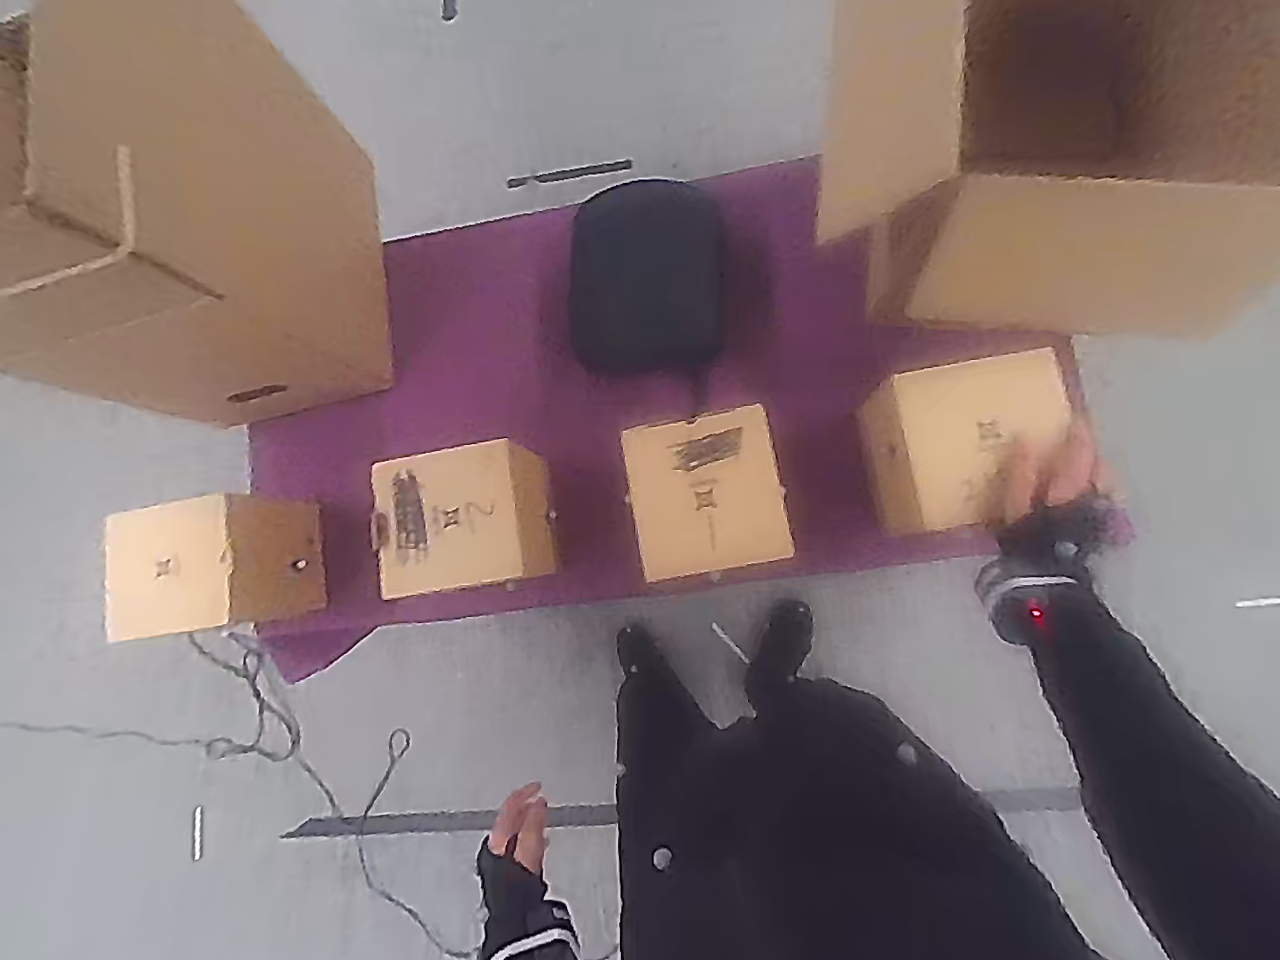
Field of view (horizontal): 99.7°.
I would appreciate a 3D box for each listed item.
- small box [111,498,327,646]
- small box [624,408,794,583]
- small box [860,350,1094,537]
[{"bbox_3d":[-0.579,0.129,0.759,0.179,0.176,0.168,-11,81,5],"label":"small box"},{"bbox_3d":[0.083,0.027,0.678,0.168,0.176,0.179,-11,82,7],"label":"small box"},{"bbox_3d":[0.376,-0.030,0.642,0.168,0.176,0.179,-9,81,8],"label":"small box"}]
